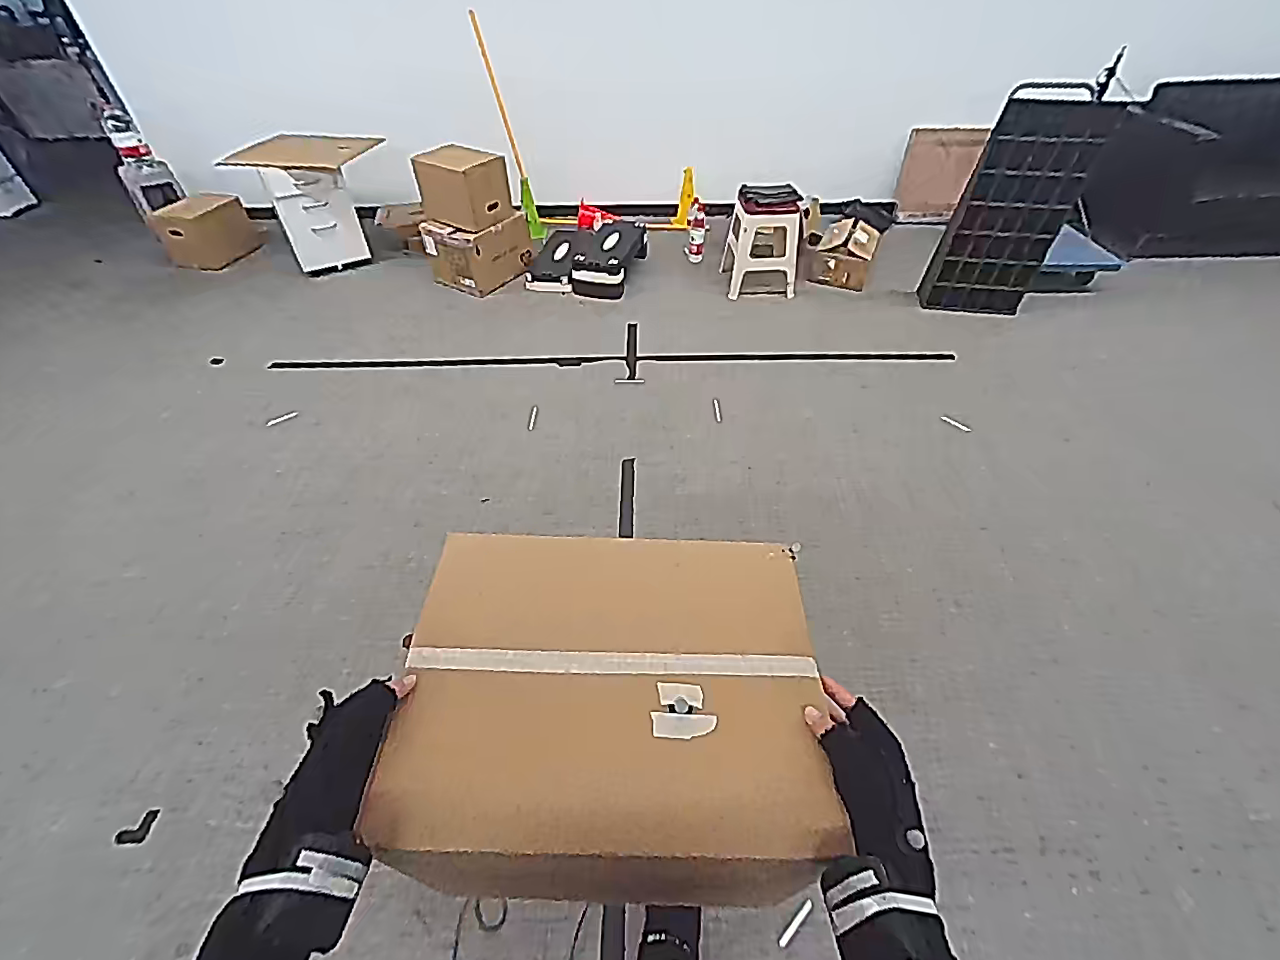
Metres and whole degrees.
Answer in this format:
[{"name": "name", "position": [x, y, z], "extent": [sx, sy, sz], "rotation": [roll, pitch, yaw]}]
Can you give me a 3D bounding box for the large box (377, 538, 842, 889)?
[{"name": "large box", "position": [-0.030, 0.289, 0.663], "extent": [0.408, 0.320, 0.320], "rotation": [2, 47, -1]}]
